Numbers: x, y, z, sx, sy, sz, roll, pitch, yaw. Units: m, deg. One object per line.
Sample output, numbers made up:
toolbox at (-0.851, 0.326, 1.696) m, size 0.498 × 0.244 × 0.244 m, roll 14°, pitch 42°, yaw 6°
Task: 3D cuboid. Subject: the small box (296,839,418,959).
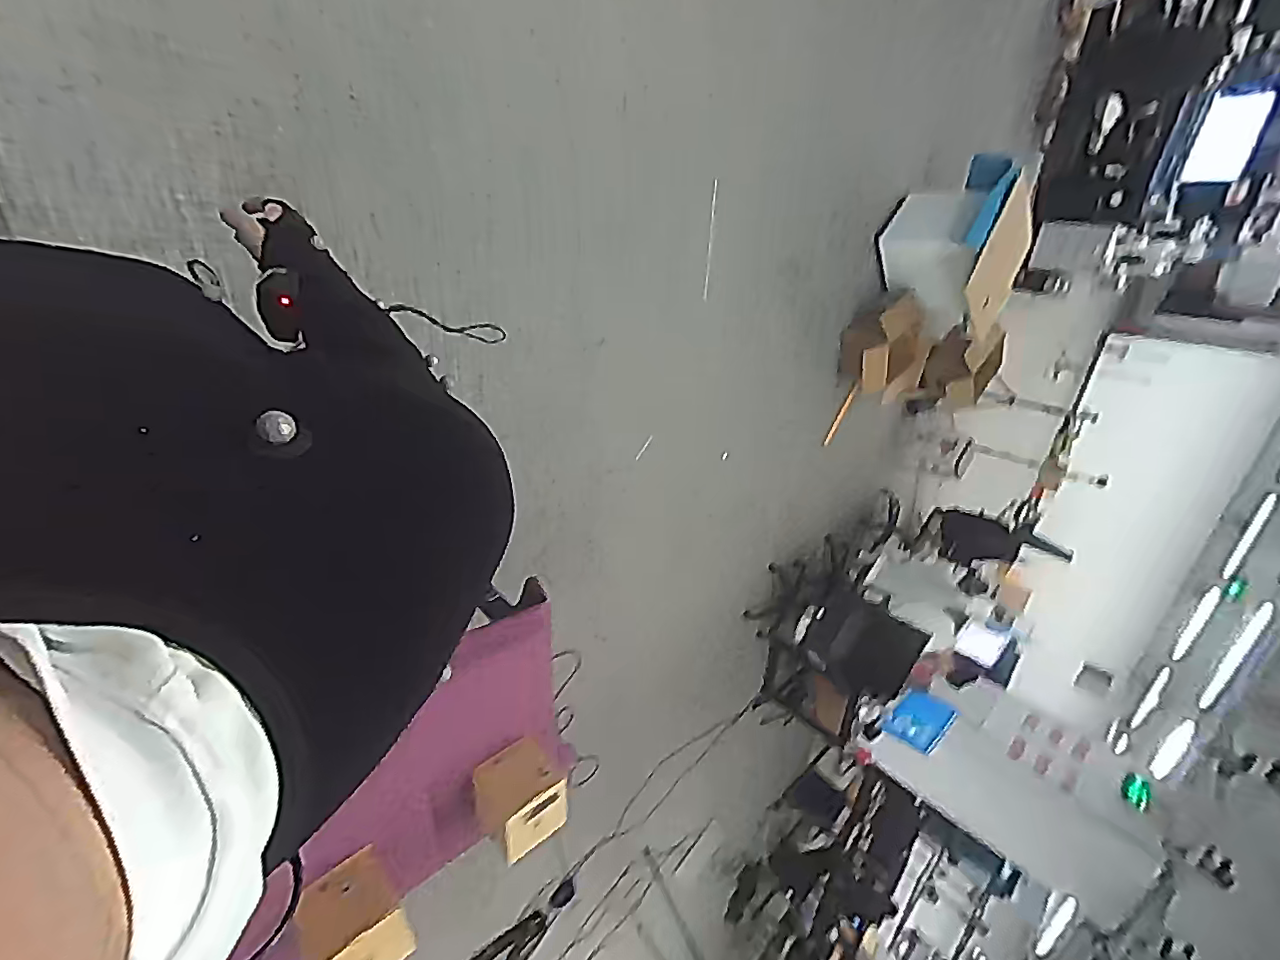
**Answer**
small box at (-0.599, 0.918, 1.148) m, size 0.168 × 0.176 × 0.179 m, roll -24°, pitch 126°, yaw -36°
